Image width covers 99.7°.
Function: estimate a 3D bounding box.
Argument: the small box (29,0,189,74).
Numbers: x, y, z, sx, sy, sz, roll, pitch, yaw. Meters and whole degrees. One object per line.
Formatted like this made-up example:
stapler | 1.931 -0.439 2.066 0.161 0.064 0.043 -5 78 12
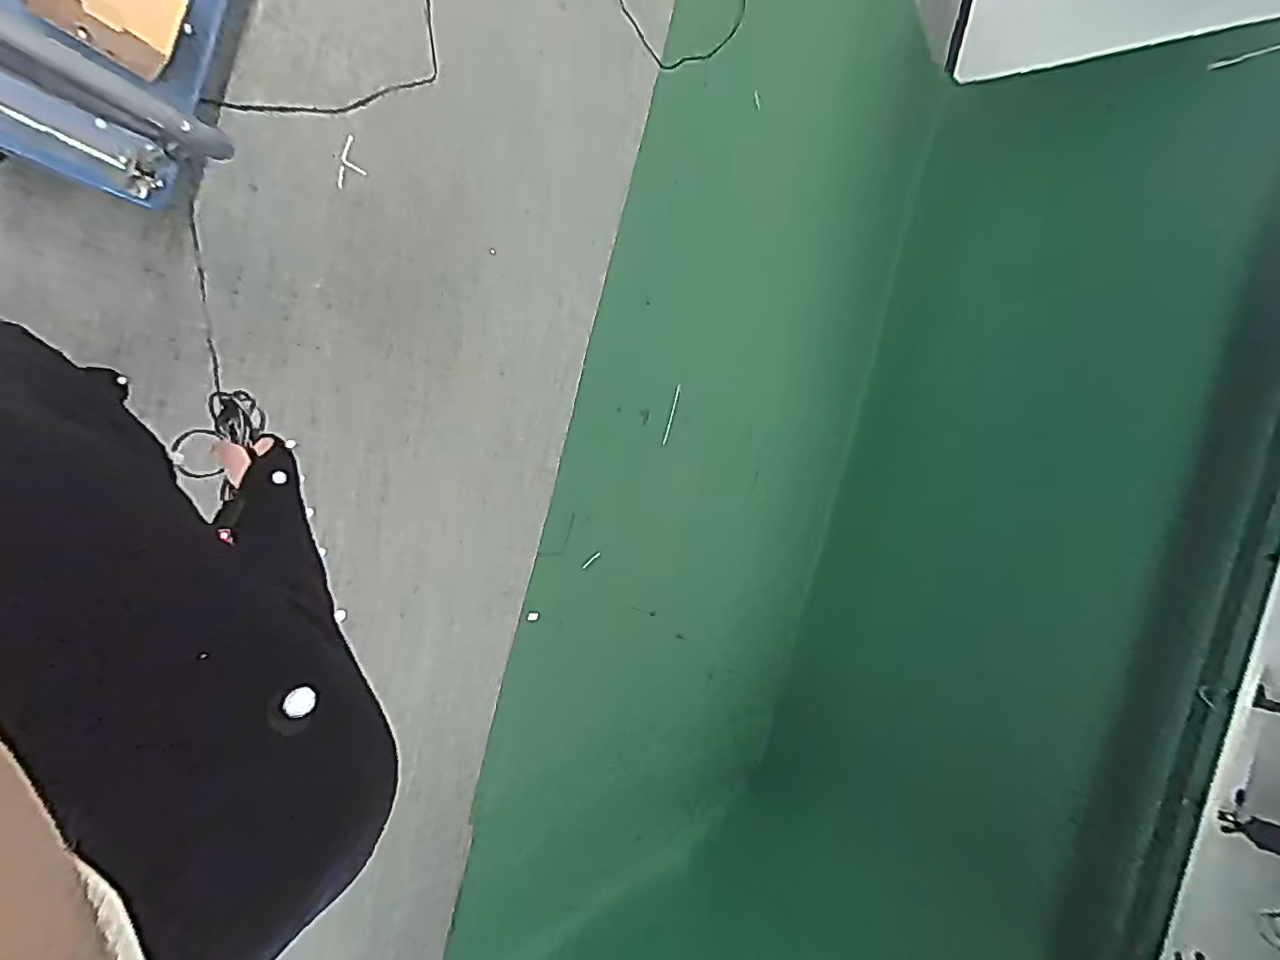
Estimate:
small box | -0.874 -0.826 0.894 0.168 0.176 0.179 19 89 -52
